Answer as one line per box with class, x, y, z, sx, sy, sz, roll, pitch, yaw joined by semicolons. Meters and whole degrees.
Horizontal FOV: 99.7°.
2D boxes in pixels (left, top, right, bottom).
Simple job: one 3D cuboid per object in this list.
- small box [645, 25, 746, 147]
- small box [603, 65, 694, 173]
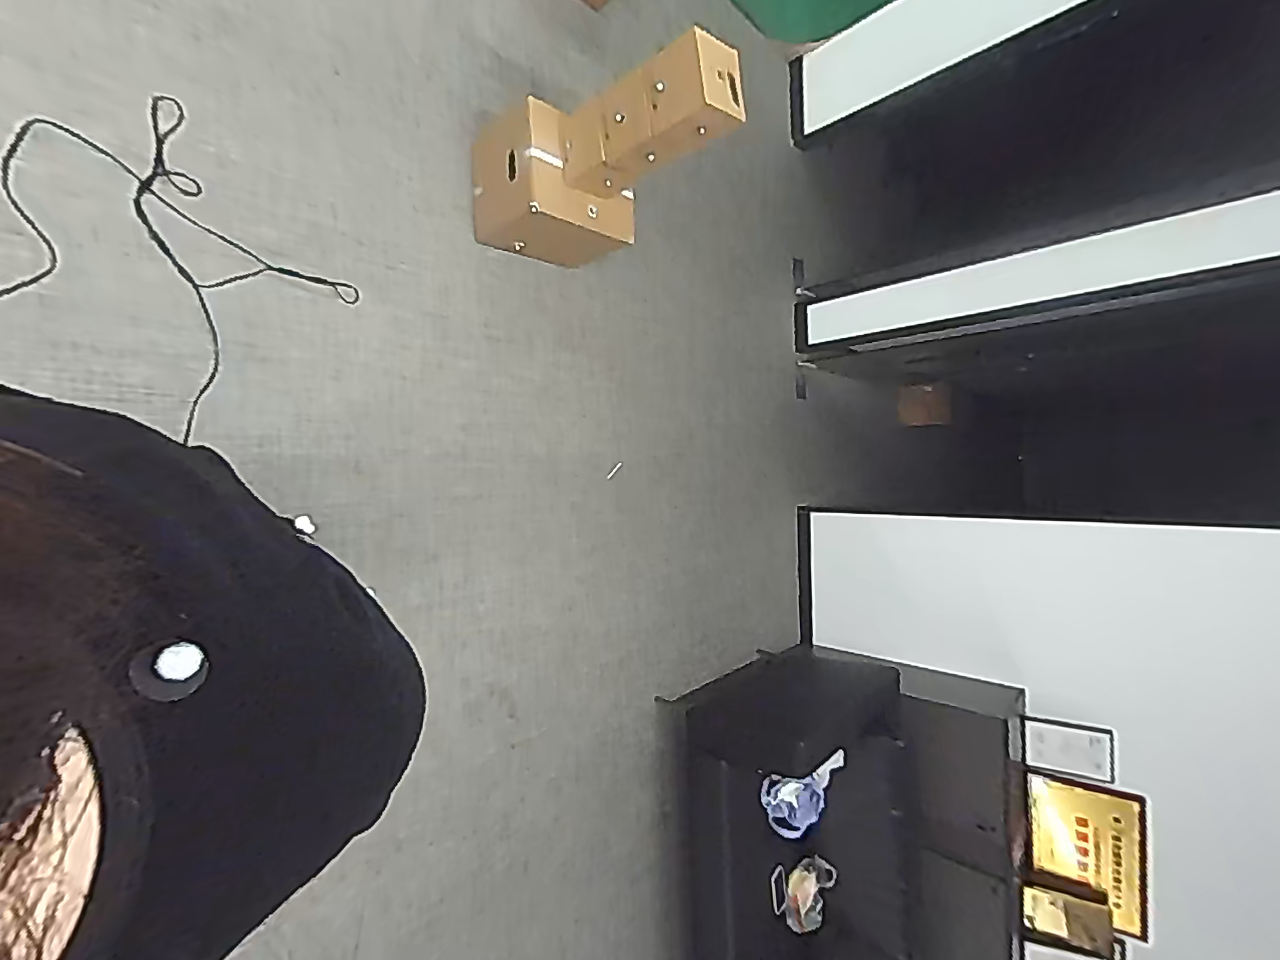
small box;0.136;-0.954;1.330;0.179;0.176;0.168;-17;101;-44
small box;0.016;-0.950;1.444;0.179;0.176;0.168;-16;100;-44
